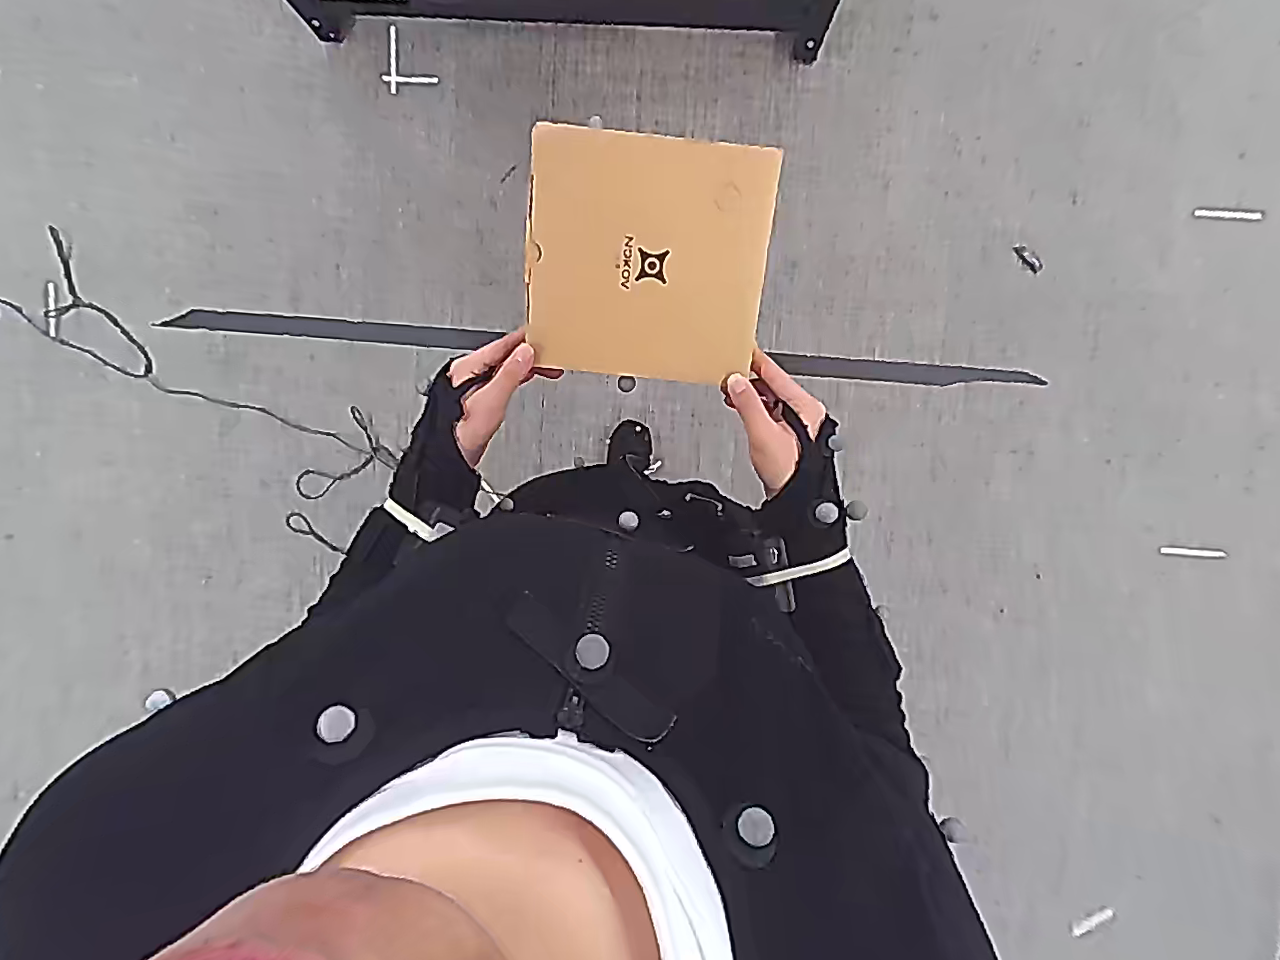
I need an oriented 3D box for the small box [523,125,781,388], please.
[{"bbox_3d":[0.007,-0.182,0.473,0.179,0.176,0.168,7,107,1],"label":"small box"}]
